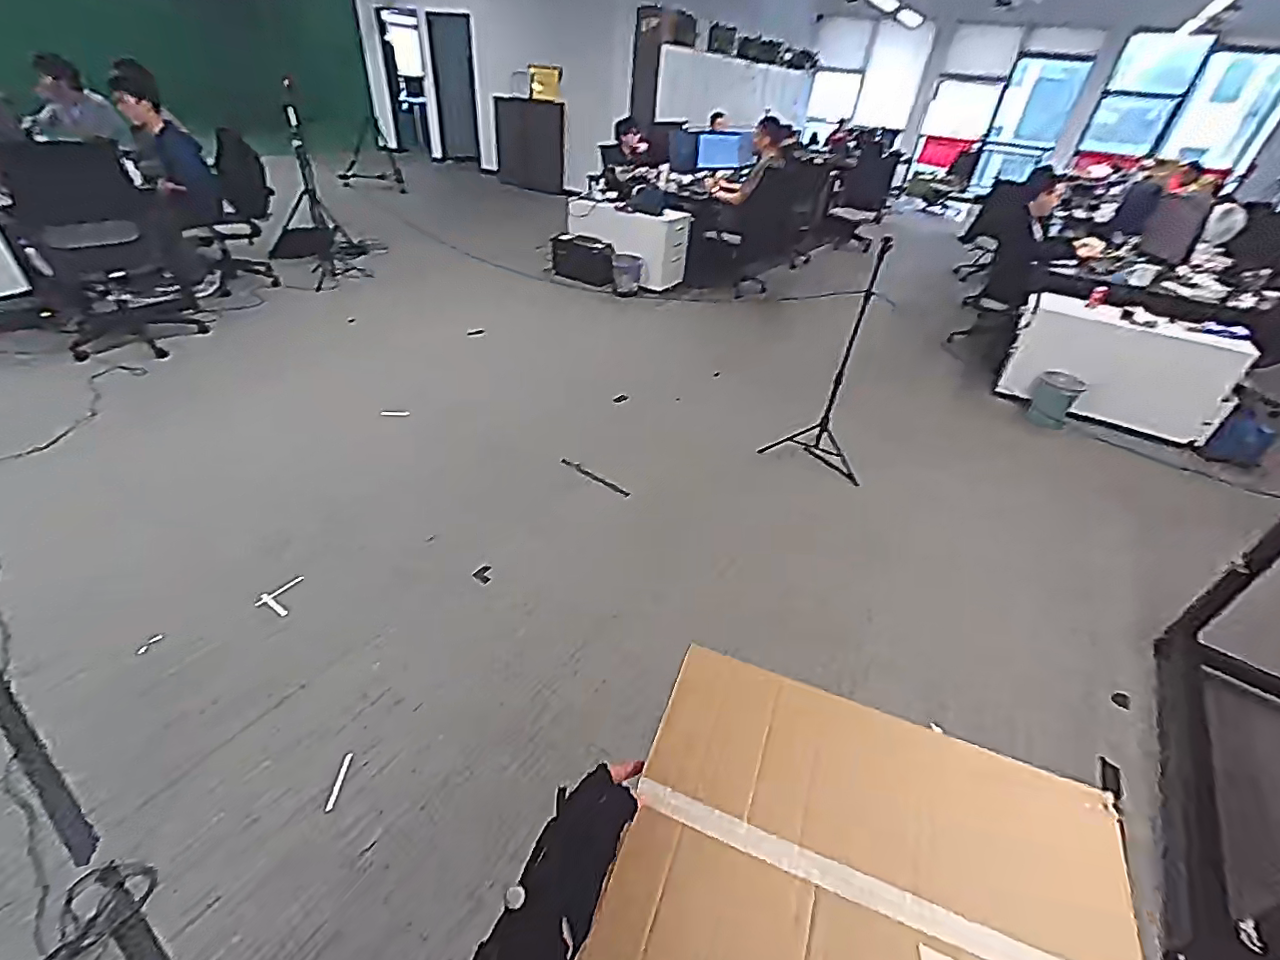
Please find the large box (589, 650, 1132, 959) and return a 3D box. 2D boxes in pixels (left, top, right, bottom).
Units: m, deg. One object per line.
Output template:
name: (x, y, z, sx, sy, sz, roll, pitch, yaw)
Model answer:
large box: (0.193, 0.444, 0.570, 0.408, 0.320, 0.320, 16, 50, 16)
